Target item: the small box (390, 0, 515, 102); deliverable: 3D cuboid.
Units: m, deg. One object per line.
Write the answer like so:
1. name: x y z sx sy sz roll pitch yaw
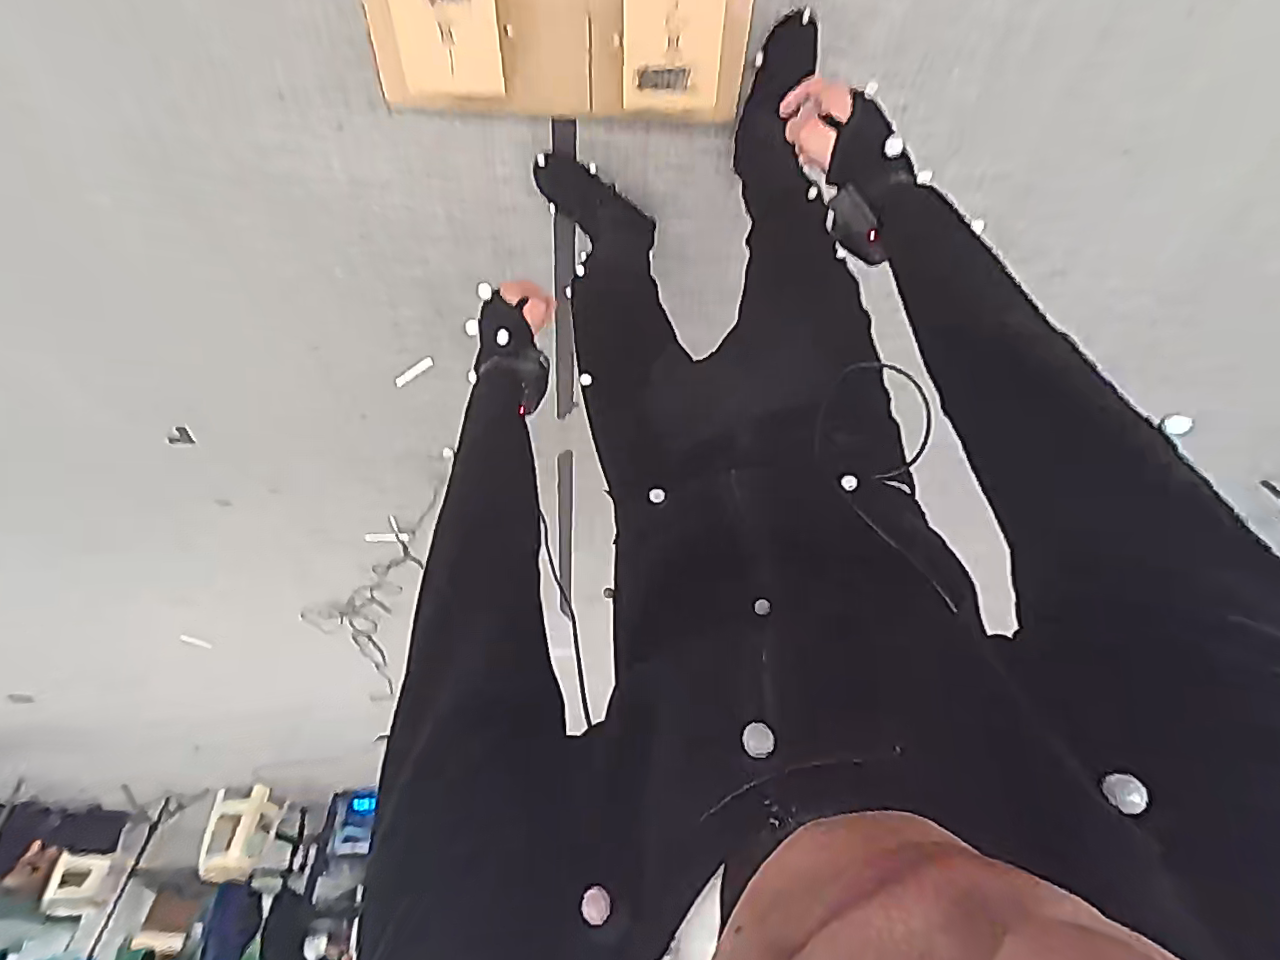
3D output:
1. small box: -0.311 -0.769 0.923 0.168 0.176 0.179 -1 135 -4
